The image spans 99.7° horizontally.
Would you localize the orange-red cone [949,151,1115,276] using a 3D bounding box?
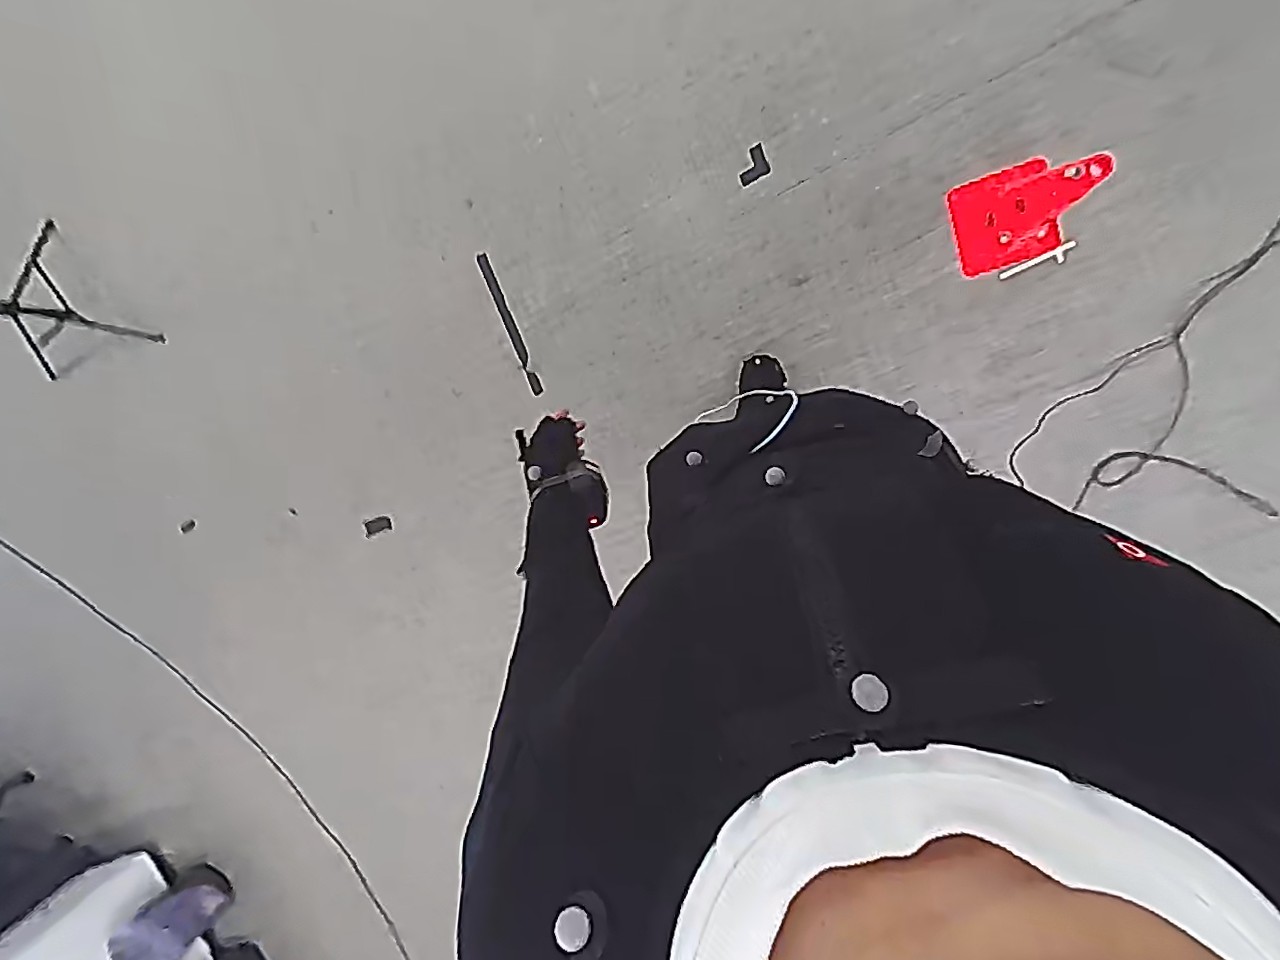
[{"bbox_3d":[0.760,-0.534,1.018,0.198,0.360,0.199,-15,97,14],"label":"orange-red cone"}]
